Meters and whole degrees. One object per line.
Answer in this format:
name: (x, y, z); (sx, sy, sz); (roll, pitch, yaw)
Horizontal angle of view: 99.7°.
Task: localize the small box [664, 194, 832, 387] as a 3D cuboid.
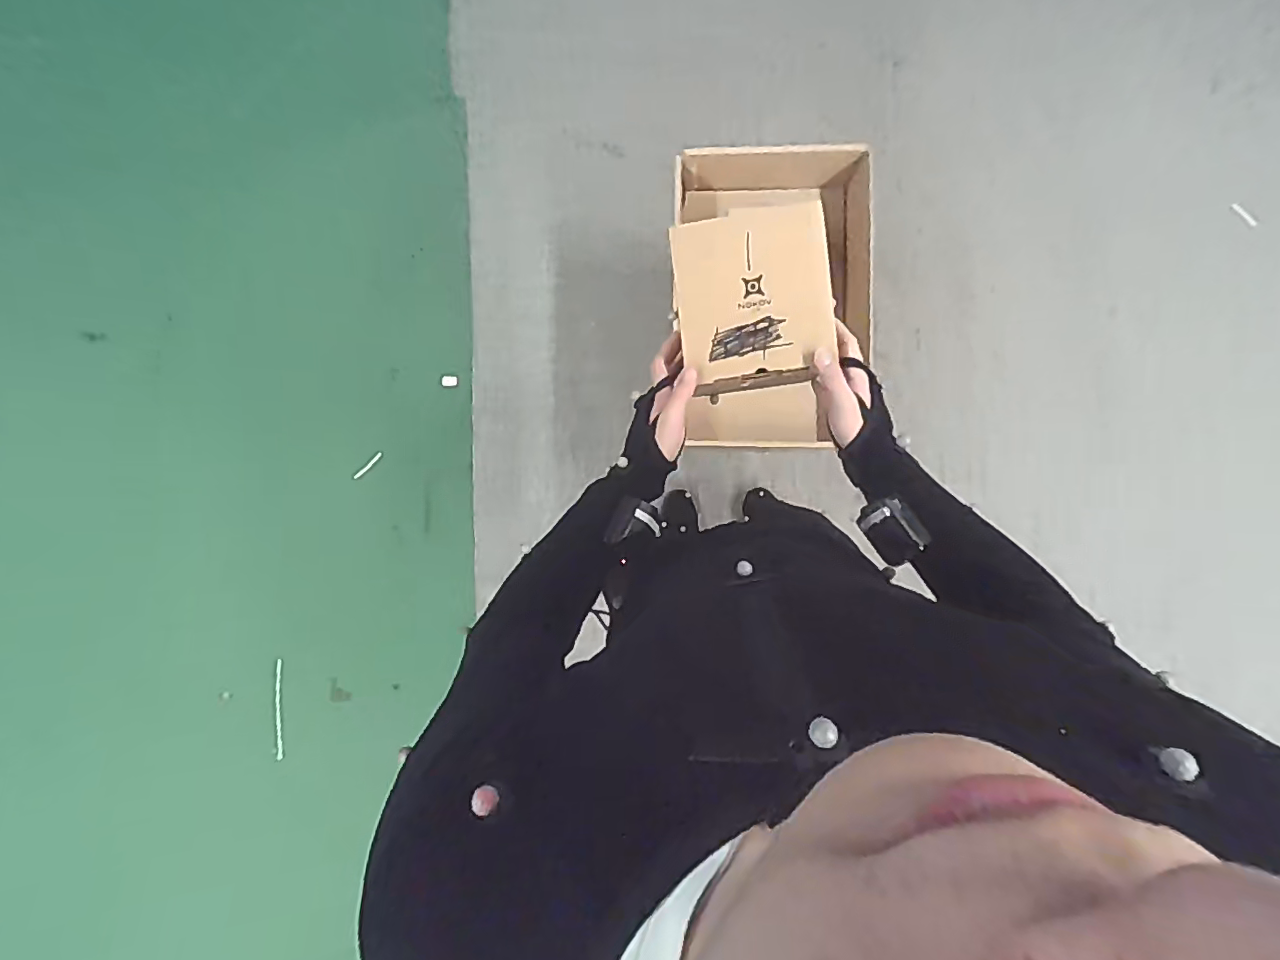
small box: (0.125, -0.211, 0.658); (0.168, 0.176, 0.179); (-7, 93, 6)
